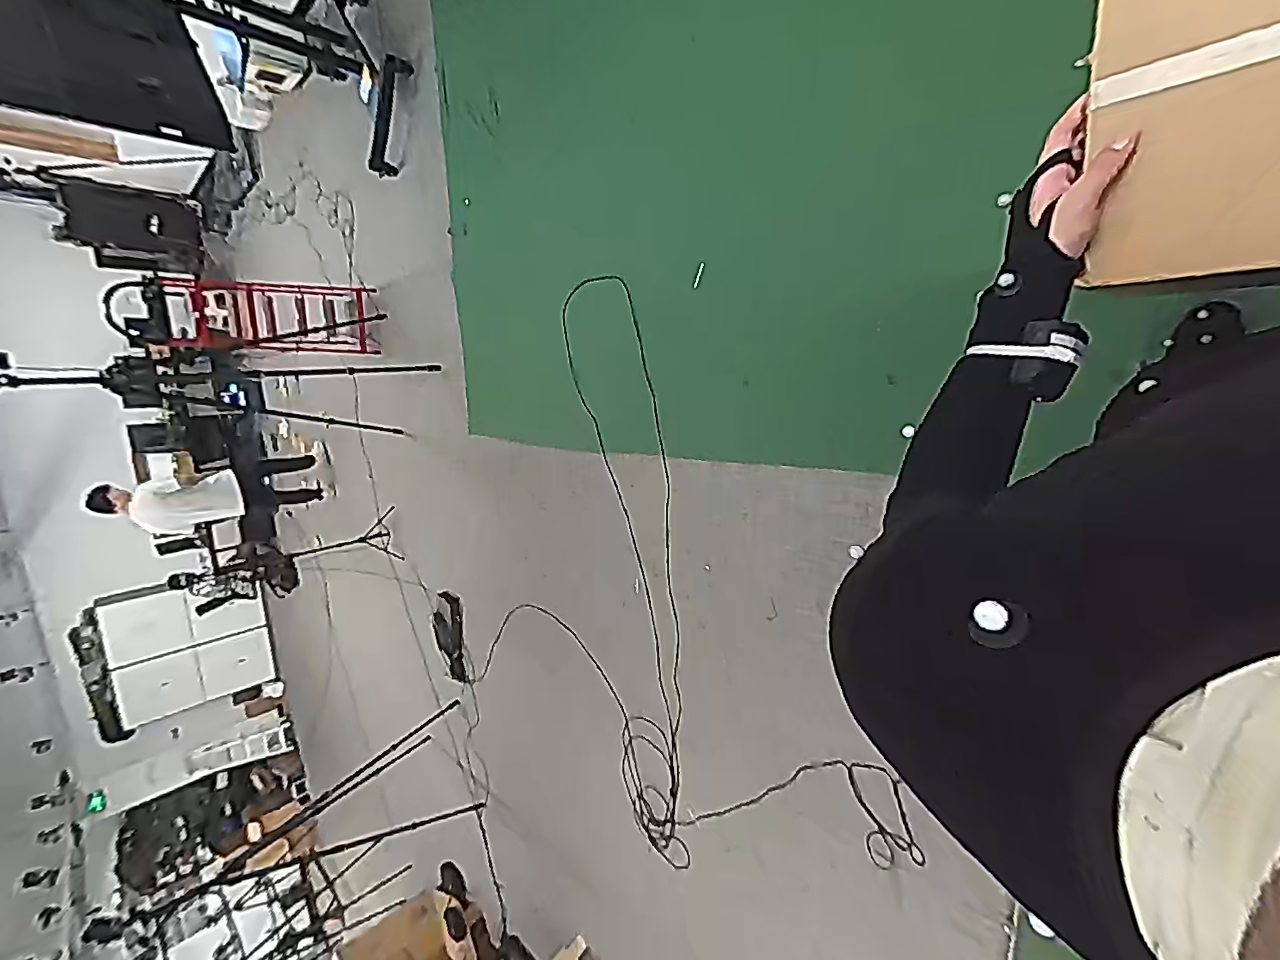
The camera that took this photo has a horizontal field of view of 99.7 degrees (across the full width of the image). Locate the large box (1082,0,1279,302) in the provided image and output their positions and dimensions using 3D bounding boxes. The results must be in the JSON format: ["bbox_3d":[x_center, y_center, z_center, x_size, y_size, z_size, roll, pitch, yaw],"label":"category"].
[{"bbox_3d":[0.639,-0.338,0.435,0.408,0.320,0.320,8,106,44],"label":"large box"}]
